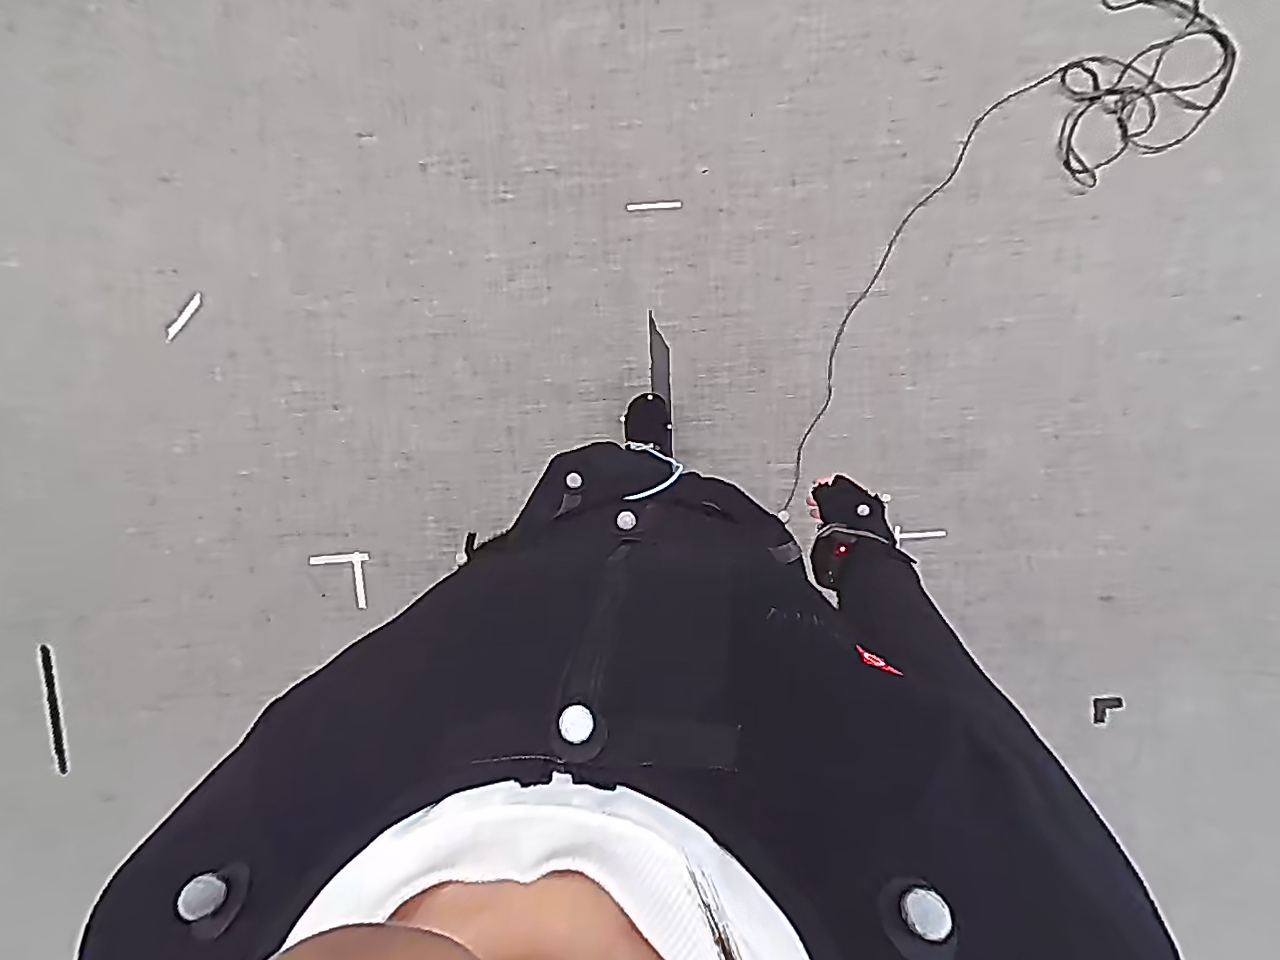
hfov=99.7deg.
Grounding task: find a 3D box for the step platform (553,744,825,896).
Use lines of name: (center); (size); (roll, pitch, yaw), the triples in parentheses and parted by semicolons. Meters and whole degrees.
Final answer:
step platform: (0.120, 0.877, 1.401); (0.684, 0.204, 0.286); (-3, 93, 5)
